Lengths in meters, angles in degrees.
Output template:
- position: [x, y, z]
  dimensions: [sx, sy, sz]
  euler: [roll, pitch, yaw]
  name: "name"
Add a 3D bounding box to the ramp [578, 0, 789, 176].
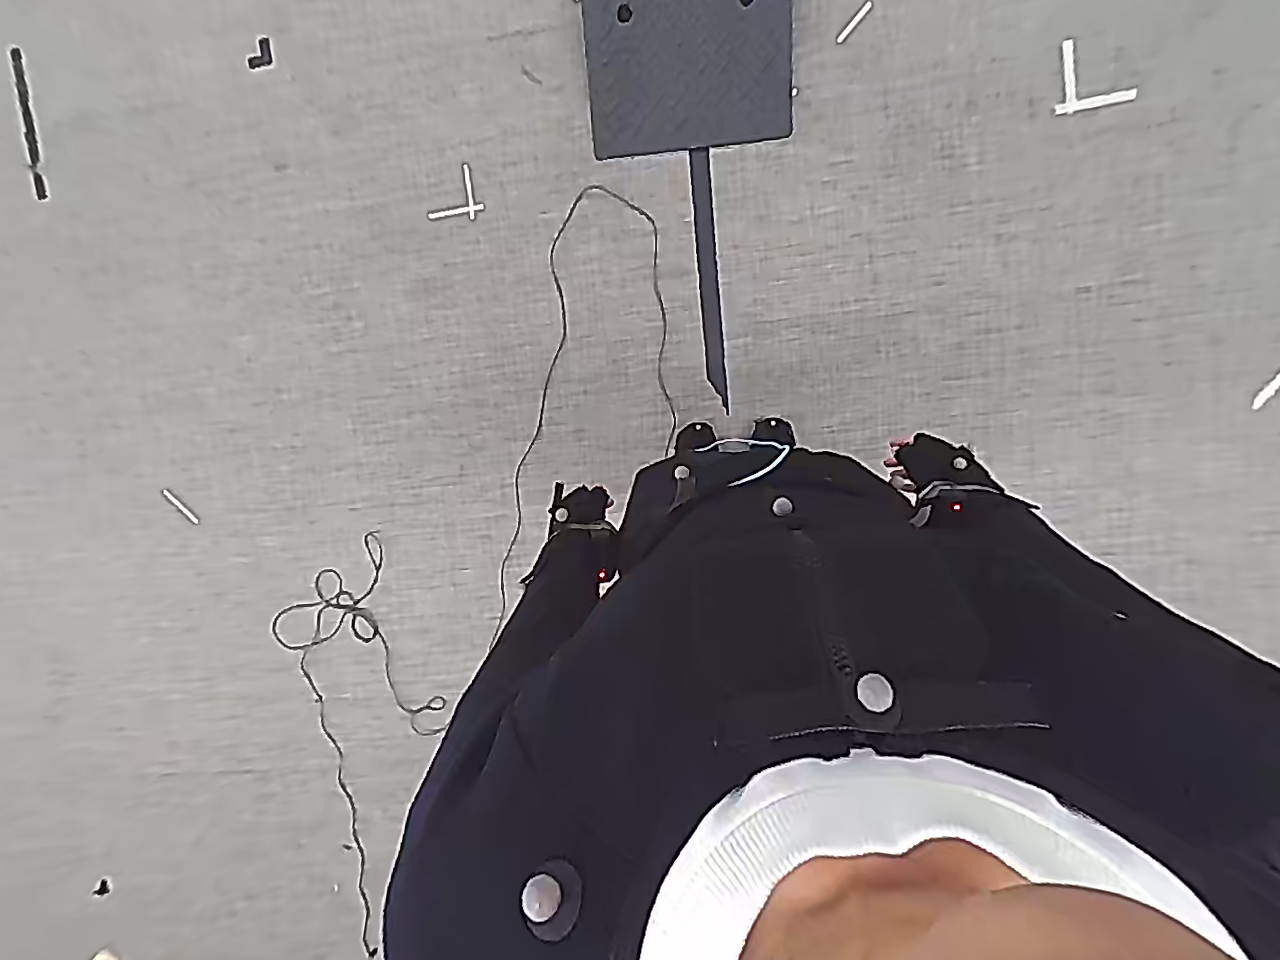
- position: [0.082, -1.287, 1.250]
  dimensions: [0.509, 0.206, 0.991]
  euler: [-6, 95, 6]
  name: "ramp"
